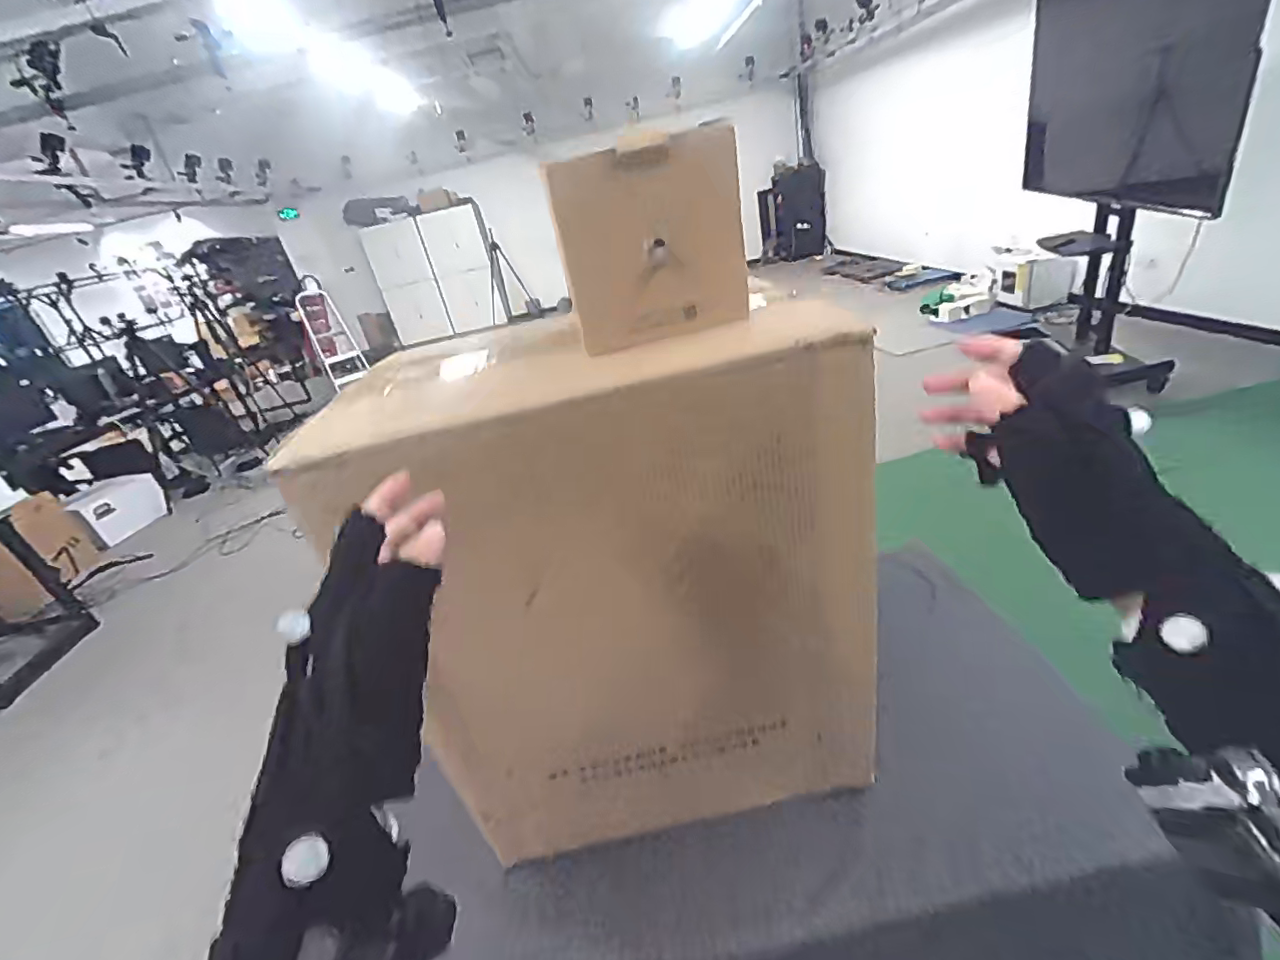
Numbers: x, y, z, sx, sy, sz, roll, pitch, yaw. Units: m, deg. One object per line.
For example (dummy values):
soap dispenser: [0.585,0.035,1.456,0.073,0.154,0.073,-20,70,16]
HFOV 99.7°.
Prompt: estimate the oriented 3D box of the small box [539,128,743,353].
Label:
small box: [-0.001,-0.244,0.561,0.168,0.176,0.179,-15,31,-3]
